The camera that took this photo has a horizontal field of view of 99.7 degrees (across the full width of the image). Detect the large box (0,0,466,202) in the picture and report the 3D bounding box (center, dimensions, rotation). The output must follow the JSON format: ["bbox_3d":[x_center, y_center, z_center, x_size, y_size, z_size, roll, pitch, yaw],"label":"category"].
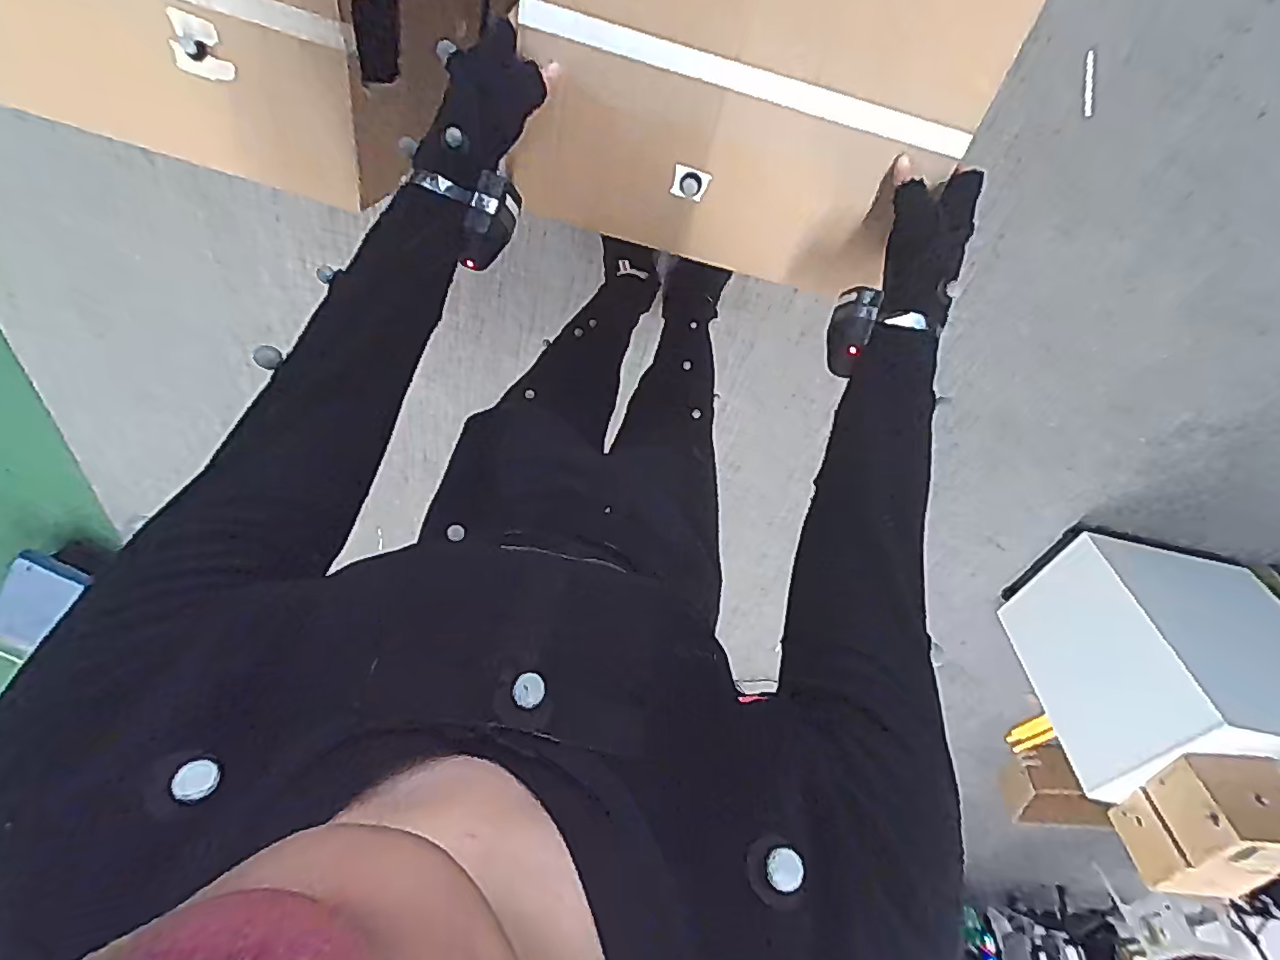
[{"bbox_3d":[-0.434,-0.553,0.584,0.408,0.320,0.320,14,132,-7],"label":"large box"}]
